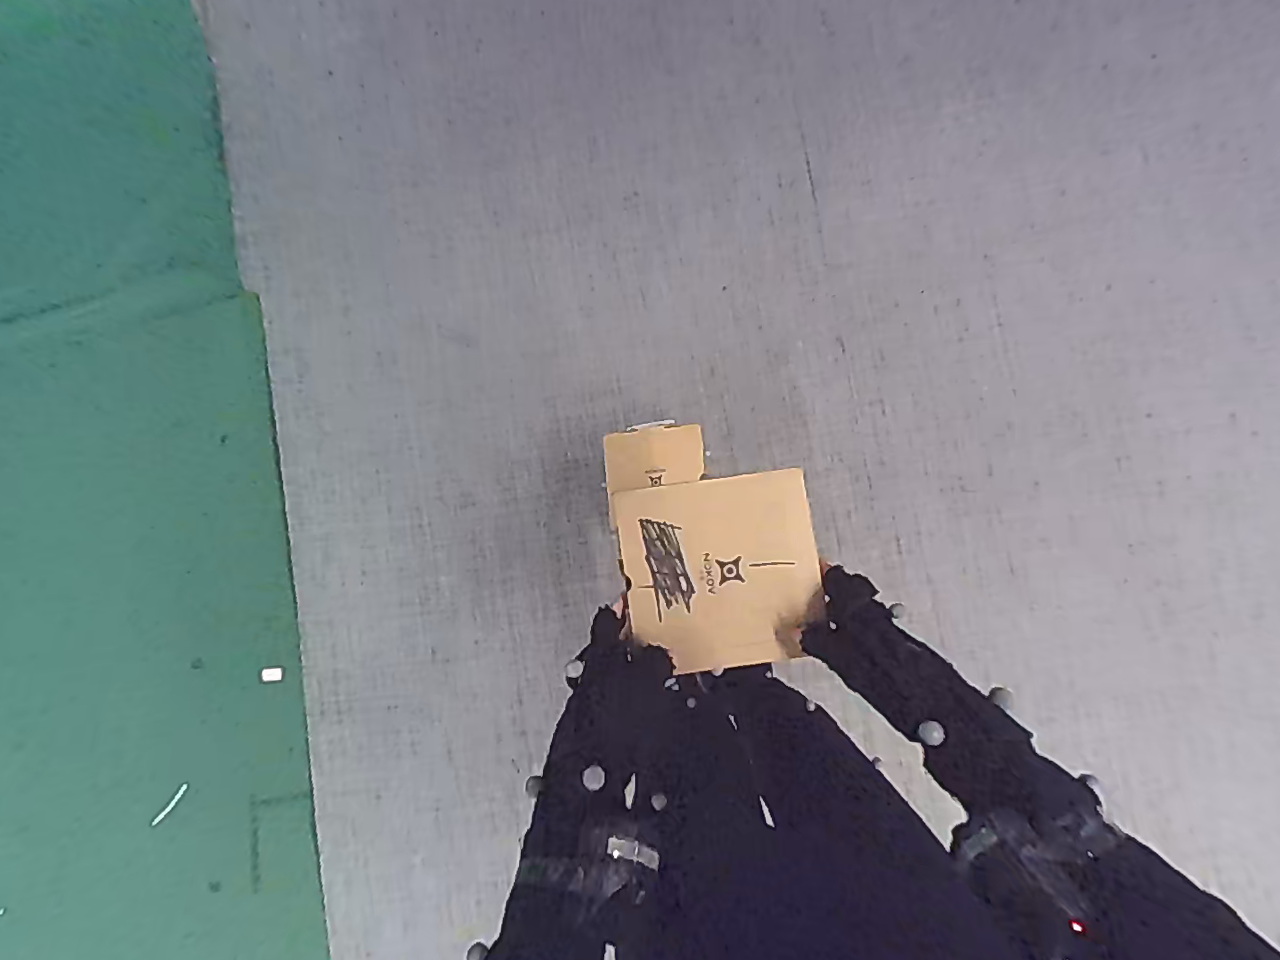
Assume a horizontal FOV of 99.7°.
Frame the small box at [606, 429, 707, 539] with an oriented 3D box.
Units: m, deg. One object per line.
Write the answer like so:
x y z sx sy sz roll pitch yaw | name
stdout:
0.038 0.014 0.976 0.168 0.176 0.179 -6 86 6 | small box

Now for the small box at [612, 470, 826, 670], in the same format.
0.072 0.093 0.569 0.179 0.176 0.168 -8 81 0 | small box
